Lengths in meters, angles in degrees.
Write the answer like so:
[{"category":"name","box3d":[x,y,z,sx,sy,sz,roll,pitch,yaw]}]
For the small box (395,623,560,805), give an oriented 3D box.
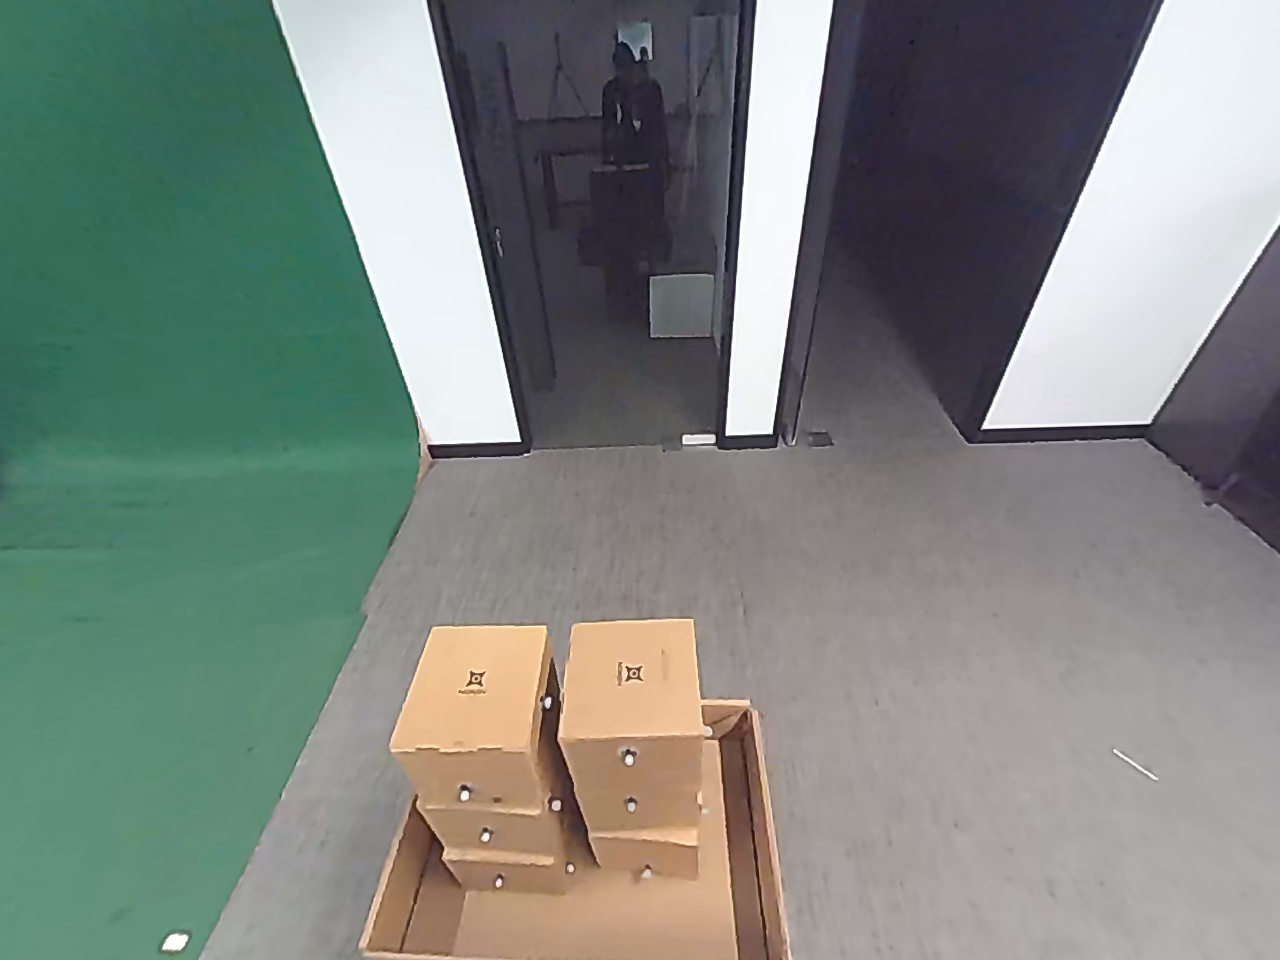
[{"category":"small box","box3d":[-0.207,0.320,0.749,0.168,0.176,0.179,-1,39,1]}]
